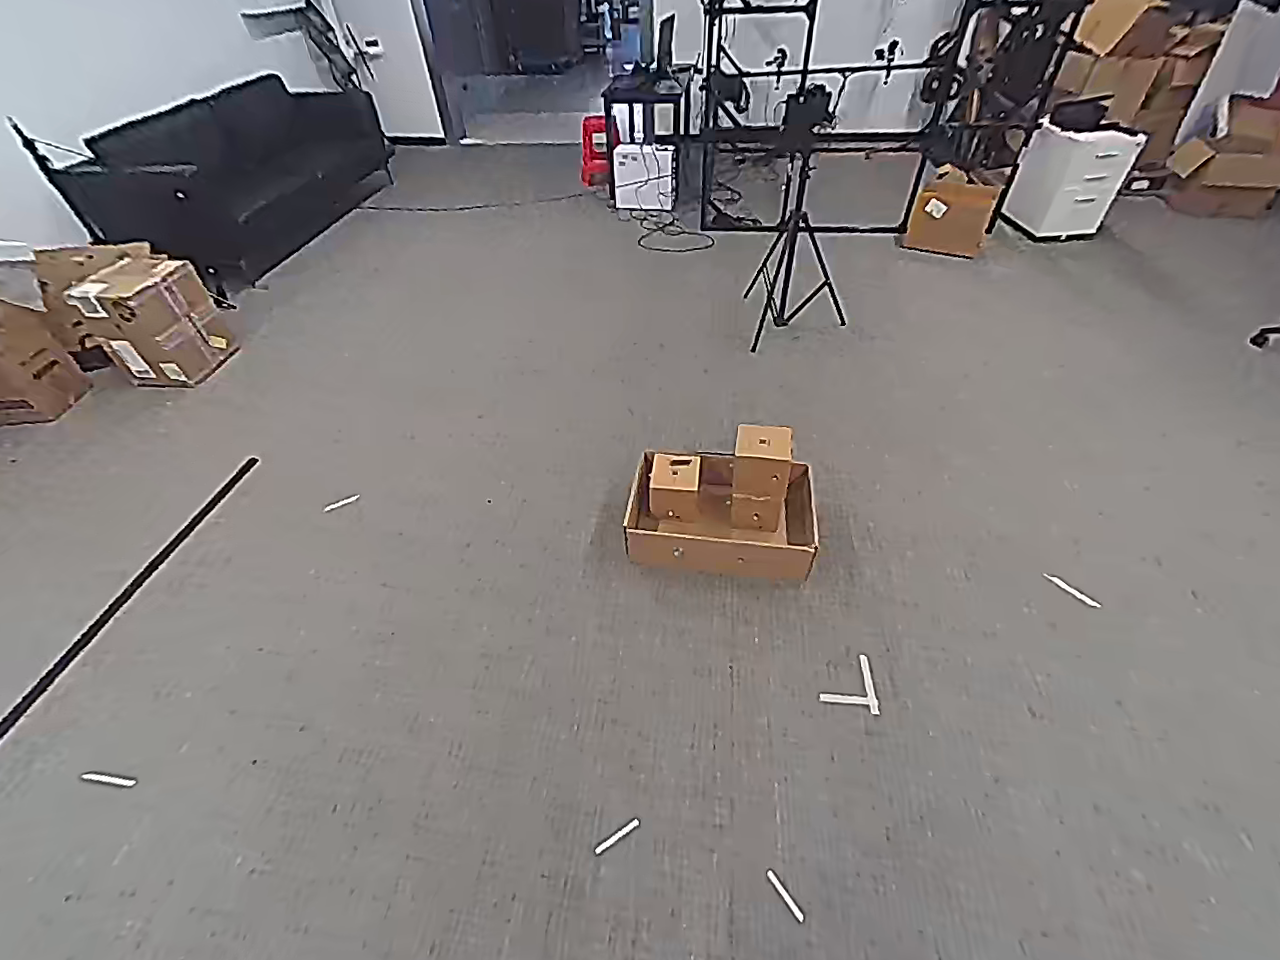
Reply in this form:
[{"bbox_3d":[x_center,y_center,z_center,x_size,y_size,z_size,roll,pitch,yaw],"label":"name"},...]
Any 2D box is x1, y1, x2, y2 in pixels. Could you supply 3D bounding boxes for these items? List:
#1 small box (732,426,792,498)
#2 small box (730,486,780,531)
[{"bbox_3d":[0.400,-0.057,1.786,0.179,0.176,0.168,4,44,11],"label":"small box"},{"bbox_3d":[0.405,0.063,1.899,0.168,0.176,0.179,4,46,11],"label":"small box"}]
